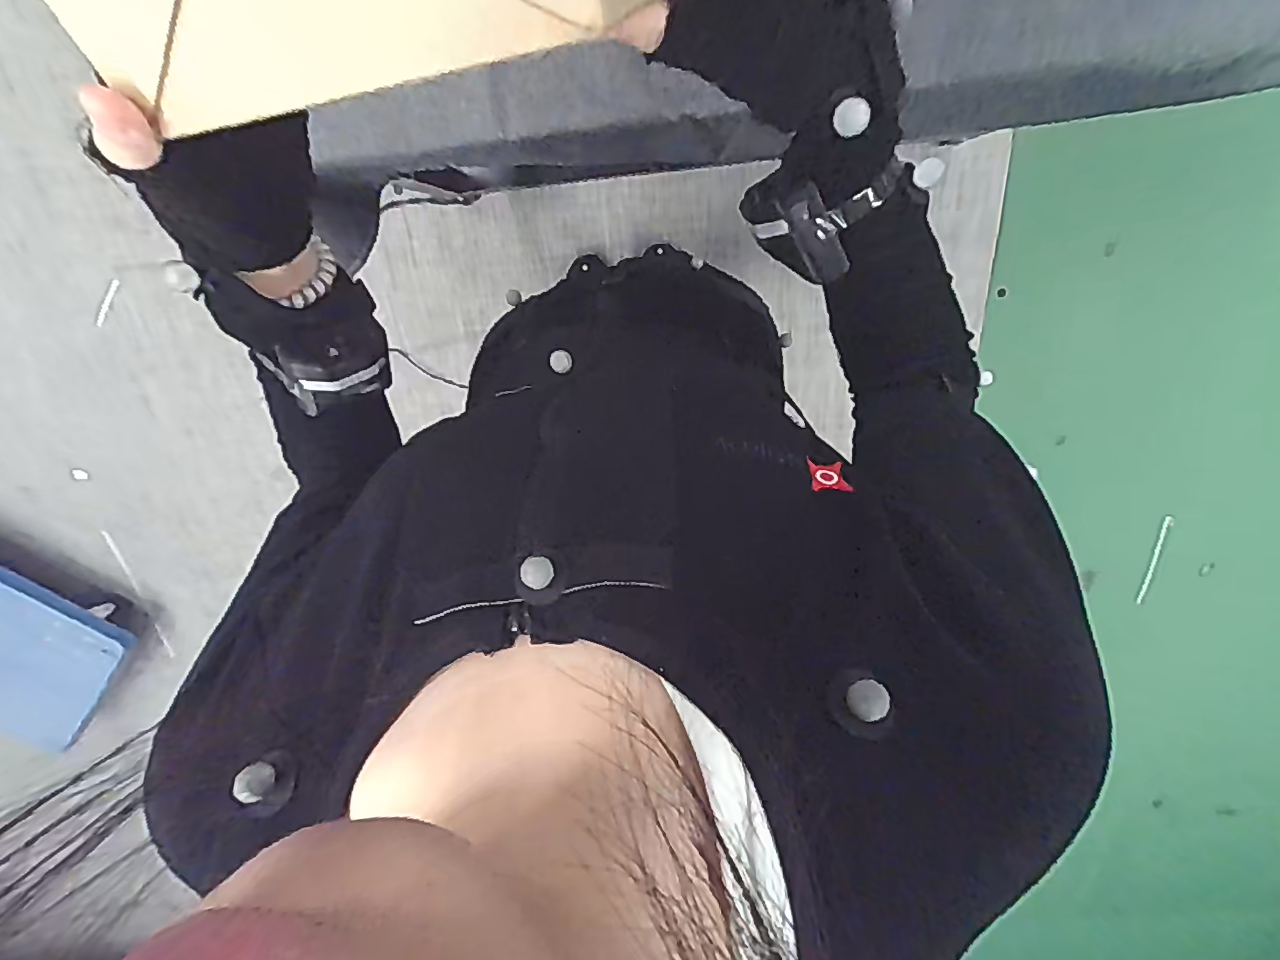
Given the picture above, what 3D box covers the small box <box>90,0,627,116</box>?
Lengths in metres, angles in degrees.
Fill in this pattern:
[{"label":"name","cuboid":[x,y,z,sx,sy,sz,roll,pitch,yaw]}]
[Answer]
[{"label":"small box","cuboid":[-0.081,-0.234,0.157,0.179,0.176,0.168,3,138,19]}]
